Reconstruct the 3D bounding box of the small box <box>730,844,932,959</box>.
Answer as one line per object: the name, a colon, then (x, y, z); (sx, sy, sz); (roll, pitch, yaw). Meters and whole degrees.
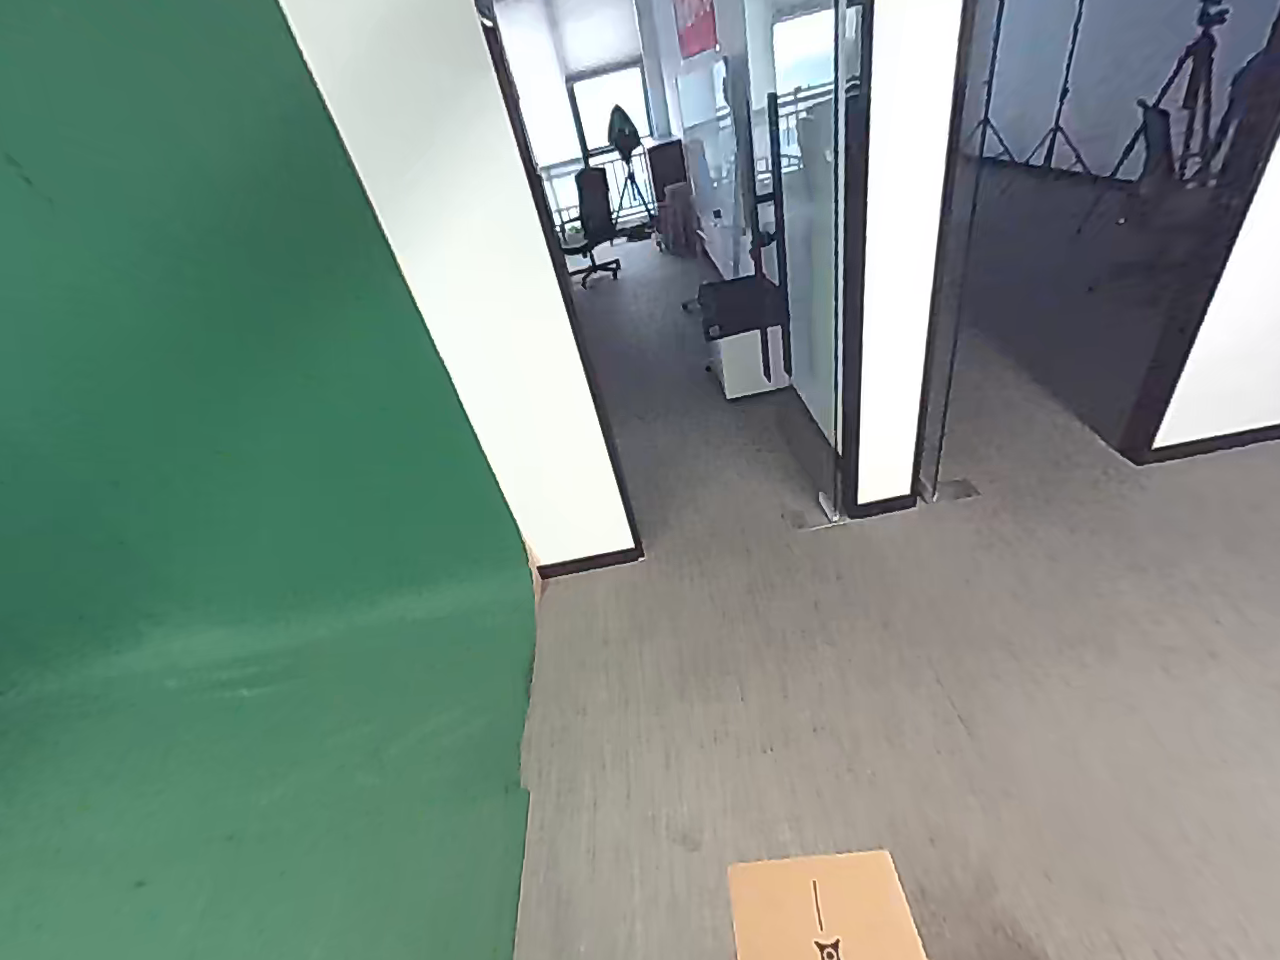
small box: (0.189, 0.489, 0.520); (0.168, 0.176, 0.179); (-10, 34, 6)
